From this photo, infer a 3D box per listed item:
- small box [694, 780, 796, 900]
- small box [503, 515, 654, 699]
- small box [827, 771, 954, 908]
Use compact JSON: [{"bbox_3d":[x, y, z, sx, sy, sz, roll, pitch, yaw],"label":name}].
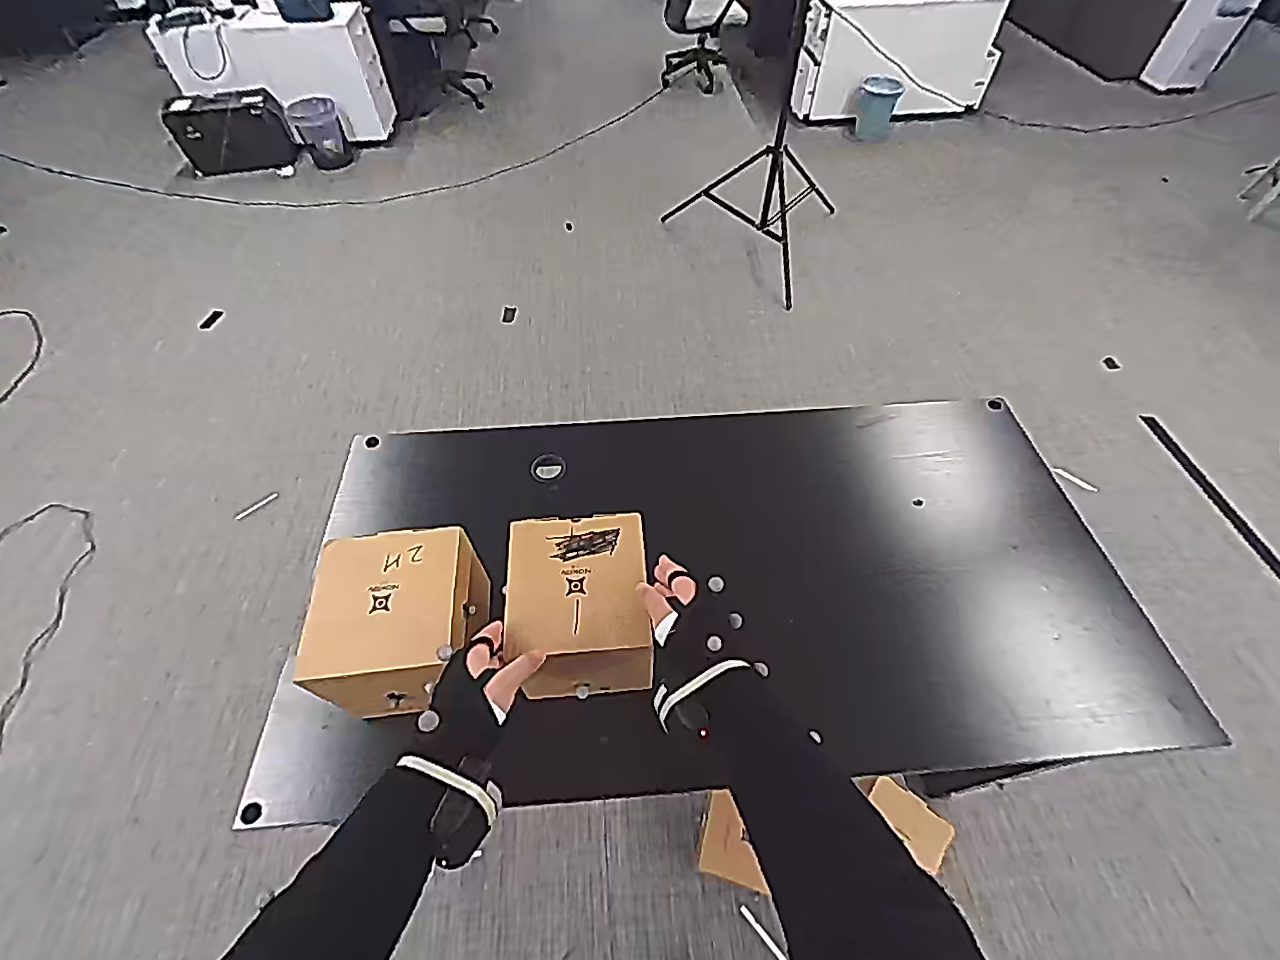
[{"bbox_3d":[0.221,0.769,1.159,0.179,0.176,0.168,12,54,11],"label":"small box"},{"bbox_3d":[-0.073,0.166,0.698,0.168,0.176,0.179,-5,54,-2],"label":"small box"},{"bbox_3d":[0.525,0.763,1.155,0.168,0.176,0.179,32,61,22],"label":"small box"}]
